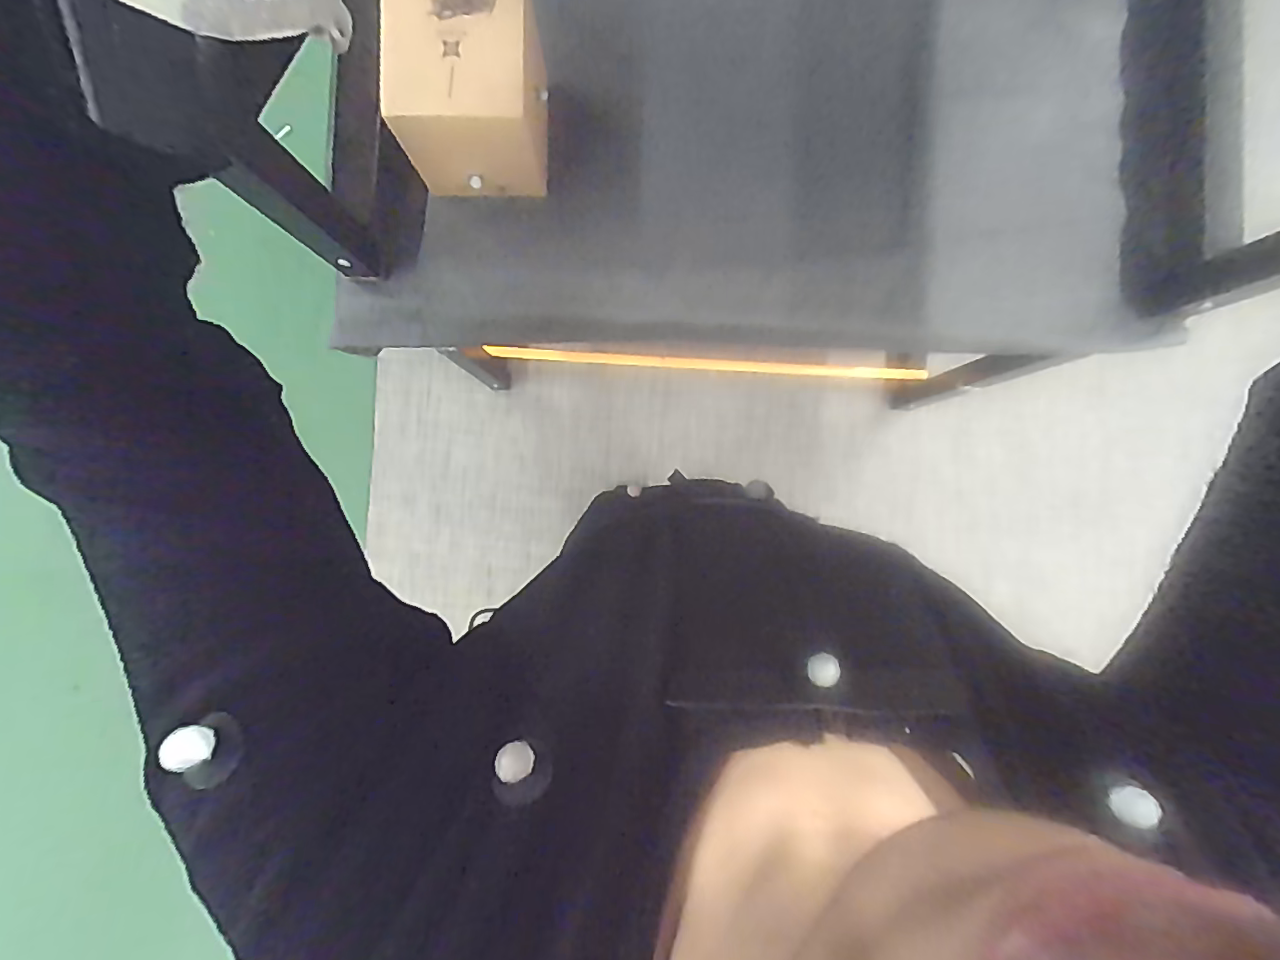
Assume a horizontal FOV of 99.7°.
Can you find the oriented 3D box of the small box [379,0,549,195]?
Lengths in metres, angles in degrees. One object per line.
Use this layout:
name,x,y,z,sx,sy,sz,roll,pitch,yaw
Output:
small box,-0.213,-0.500,0.695,0.168,0.176,0.179,0,89,0
